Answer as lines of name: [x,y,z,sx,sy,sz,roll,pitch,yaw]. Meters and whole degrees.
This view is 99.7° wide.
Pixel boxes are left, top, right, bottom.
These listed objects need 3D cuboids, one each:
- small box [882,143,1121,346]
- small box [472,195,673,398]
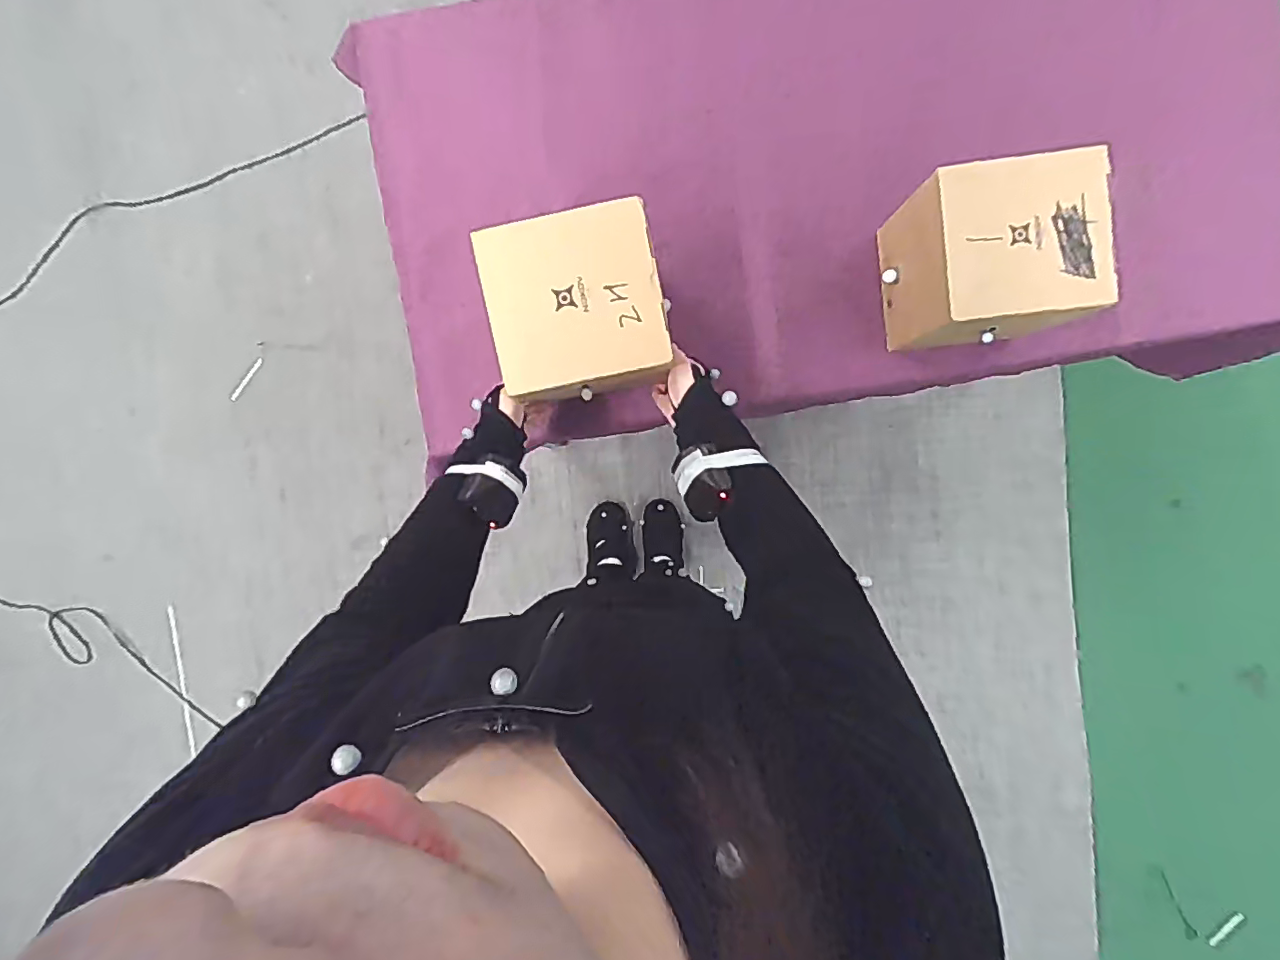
small box: [0.412,-0.263,0.643,0.179,0.176,0.168,-6,93,3]
small box: [-0.063,-0.189,0.610,0.179,0.176,0.168,-11,97,2]
